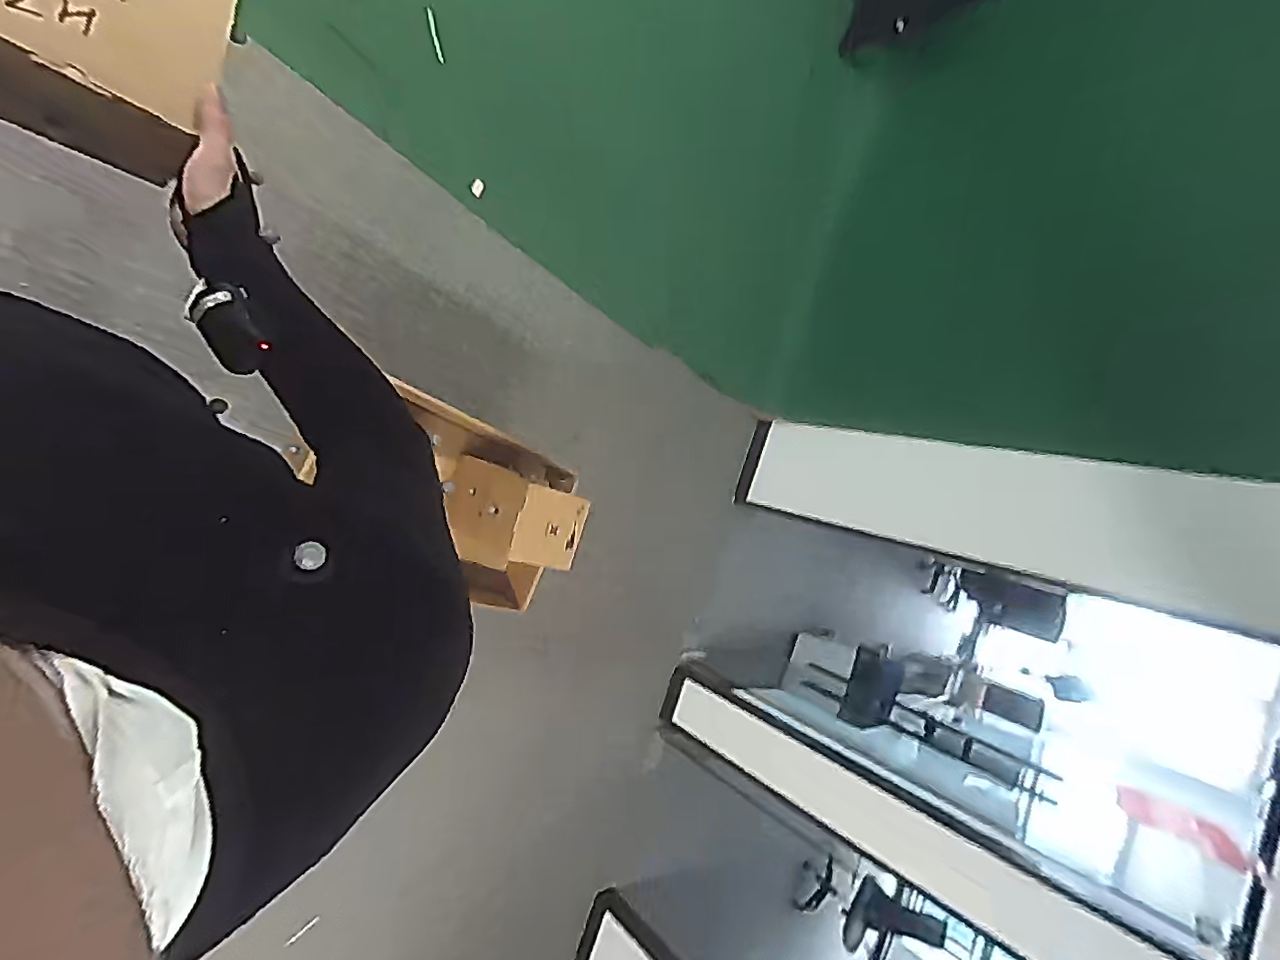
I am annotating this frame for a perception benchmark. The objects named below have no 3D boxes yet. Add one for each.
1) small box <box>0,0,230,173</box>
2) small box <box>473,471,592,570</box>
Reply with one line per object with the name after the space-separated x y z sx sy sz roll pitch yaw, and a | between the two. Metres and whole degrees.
-0.471 -0.398 0.451 0.168 0.176 0.179 12 88 -50 | small box
-0.245 0.086 1.211 0.179 0.176 0.168 22 87 -45 | small box
